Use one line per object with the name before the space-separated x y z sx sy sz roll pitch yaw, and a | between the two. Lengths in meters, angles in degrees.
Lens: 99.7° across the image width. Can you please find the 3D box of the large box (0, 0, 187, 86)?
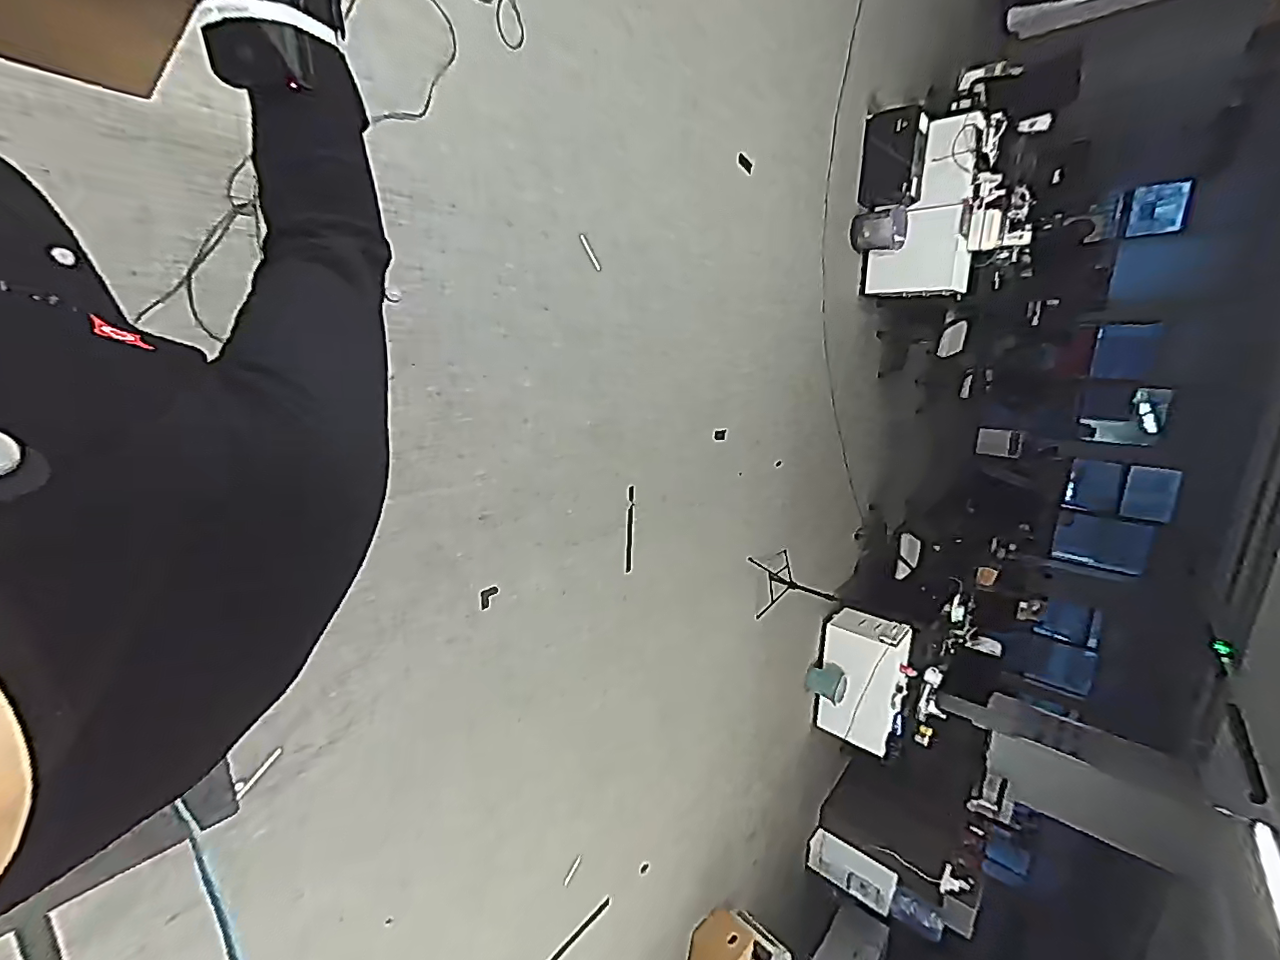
large box | -0.488 -0.469 0.244 0.408 0.320 0.320 -13 108 -48
